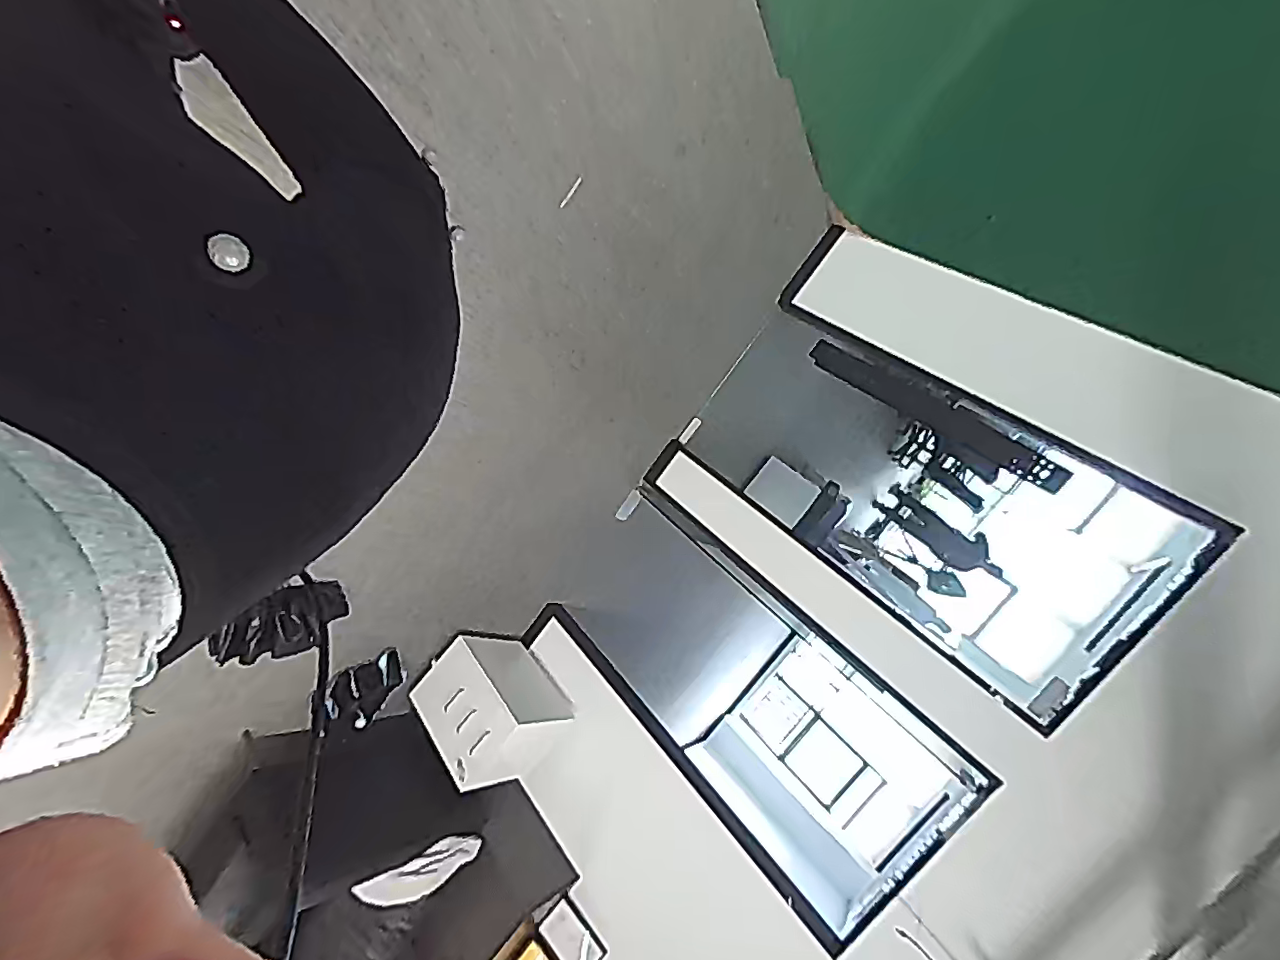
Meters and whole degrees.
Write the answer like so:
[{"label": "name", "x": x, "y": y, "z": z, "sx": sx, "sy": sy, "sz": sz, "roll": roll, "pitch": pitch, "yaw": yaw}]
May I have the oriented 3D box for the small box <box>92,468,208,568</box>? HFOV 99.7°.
[{"label": "small box", "x": -1.265, "y": 0.100, "z": 1.393, "sx": 0.179, "sy": 0.176, "sz": 0.168, "roll": -54, "pitch": 149, "yaw": 7}]
